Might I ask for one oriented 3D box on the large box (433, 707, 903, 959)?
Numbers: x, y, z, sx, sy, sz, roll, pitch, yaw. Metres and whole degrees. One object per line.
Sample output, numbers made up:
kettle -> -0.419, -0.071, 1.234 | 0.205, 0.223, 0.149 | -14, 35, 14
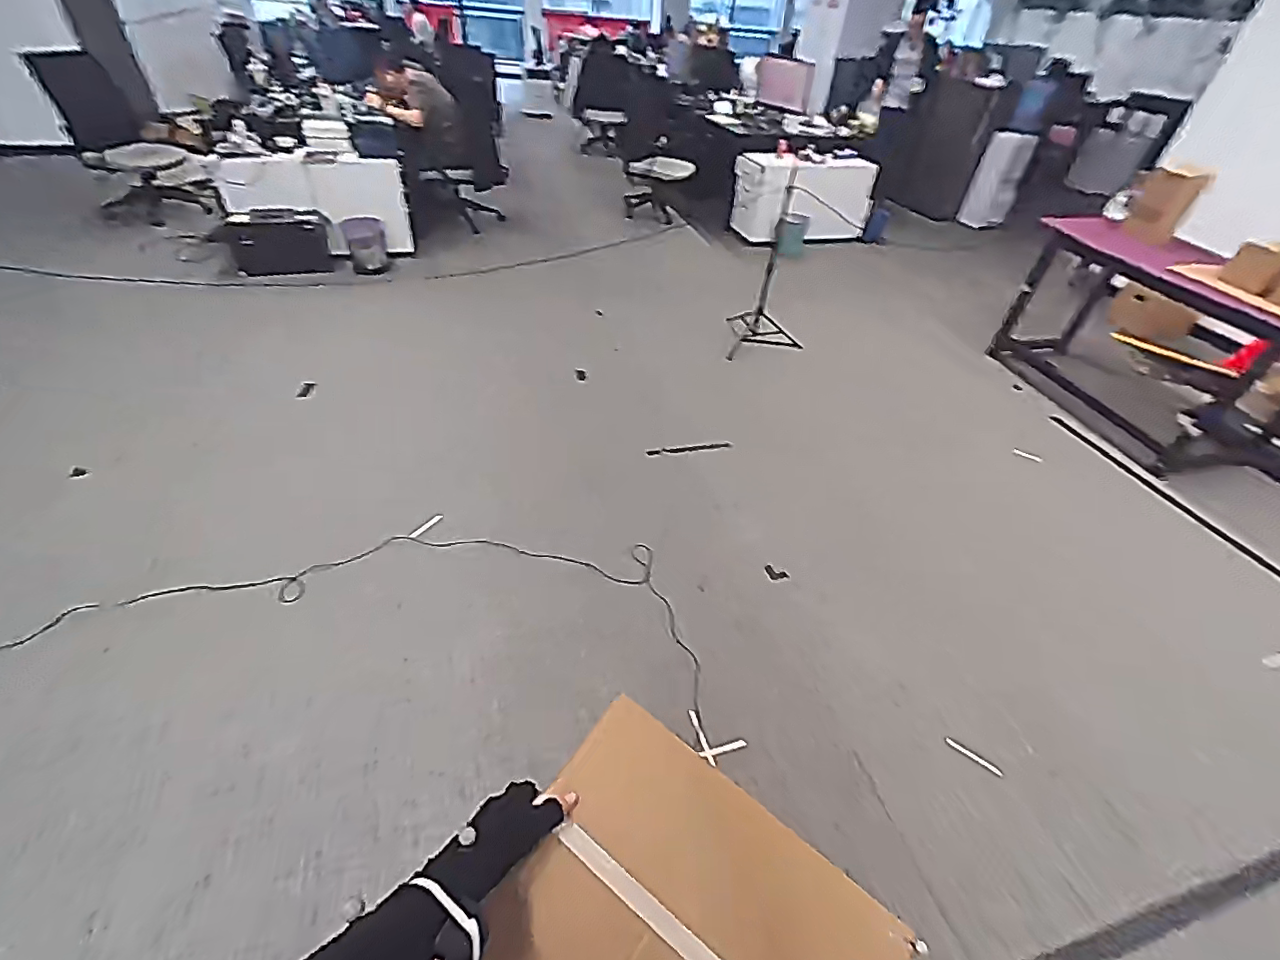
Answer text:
large box -> 0.019, 0.571, 0.667 | 0.408, 0.320, 0.320 | 34, 54, 17
